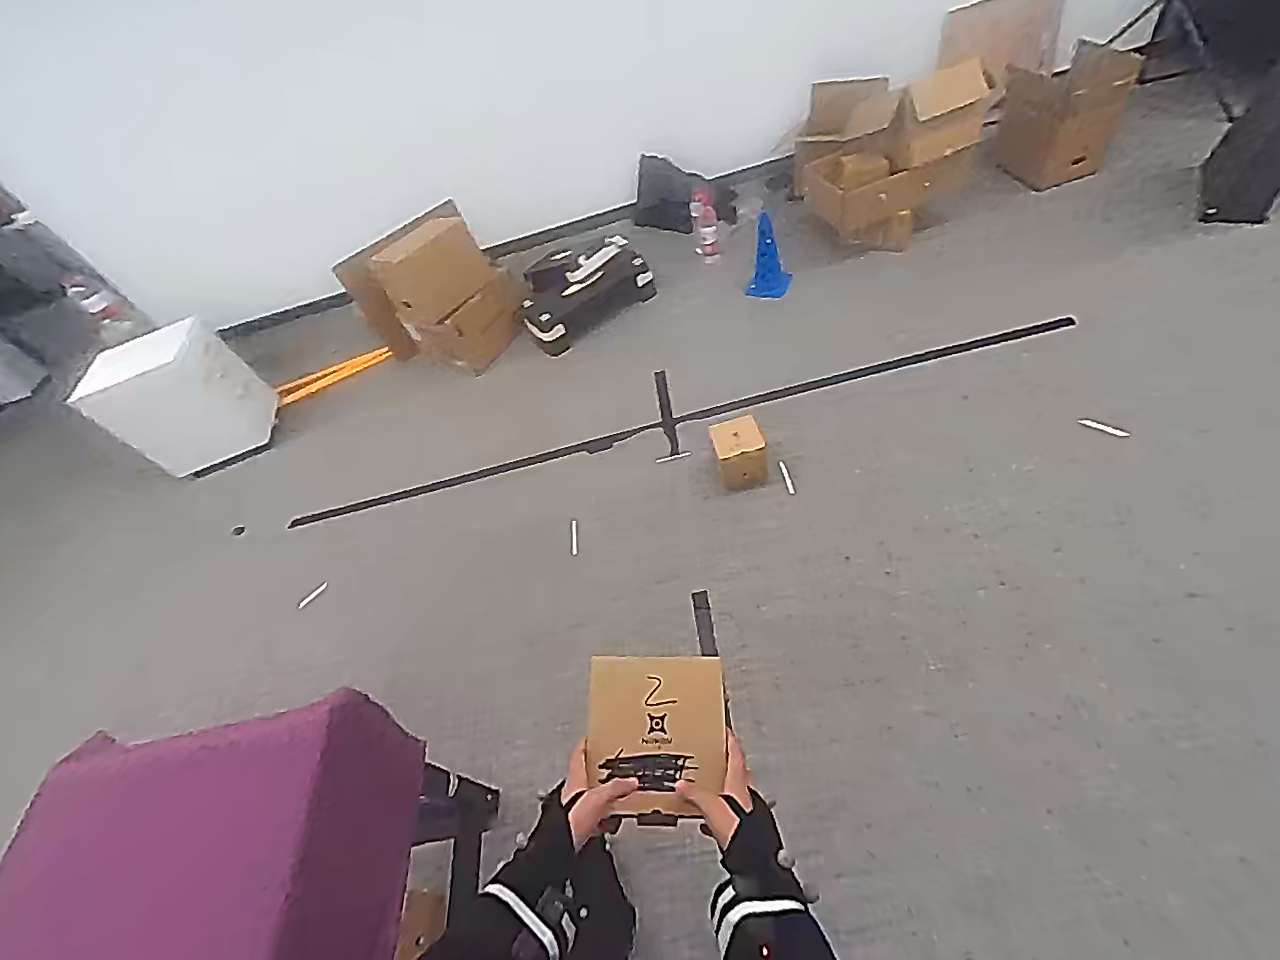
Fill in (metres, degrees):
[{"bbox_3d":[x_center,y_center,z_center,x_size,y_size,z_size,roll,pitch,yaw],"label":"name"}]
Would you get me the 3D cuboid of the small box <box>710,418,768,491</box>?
[{"bbox_3d":[0.358,-0.091,1.953,0.168,0.176,0.179,-16,50,5],"label":"small box"}]
